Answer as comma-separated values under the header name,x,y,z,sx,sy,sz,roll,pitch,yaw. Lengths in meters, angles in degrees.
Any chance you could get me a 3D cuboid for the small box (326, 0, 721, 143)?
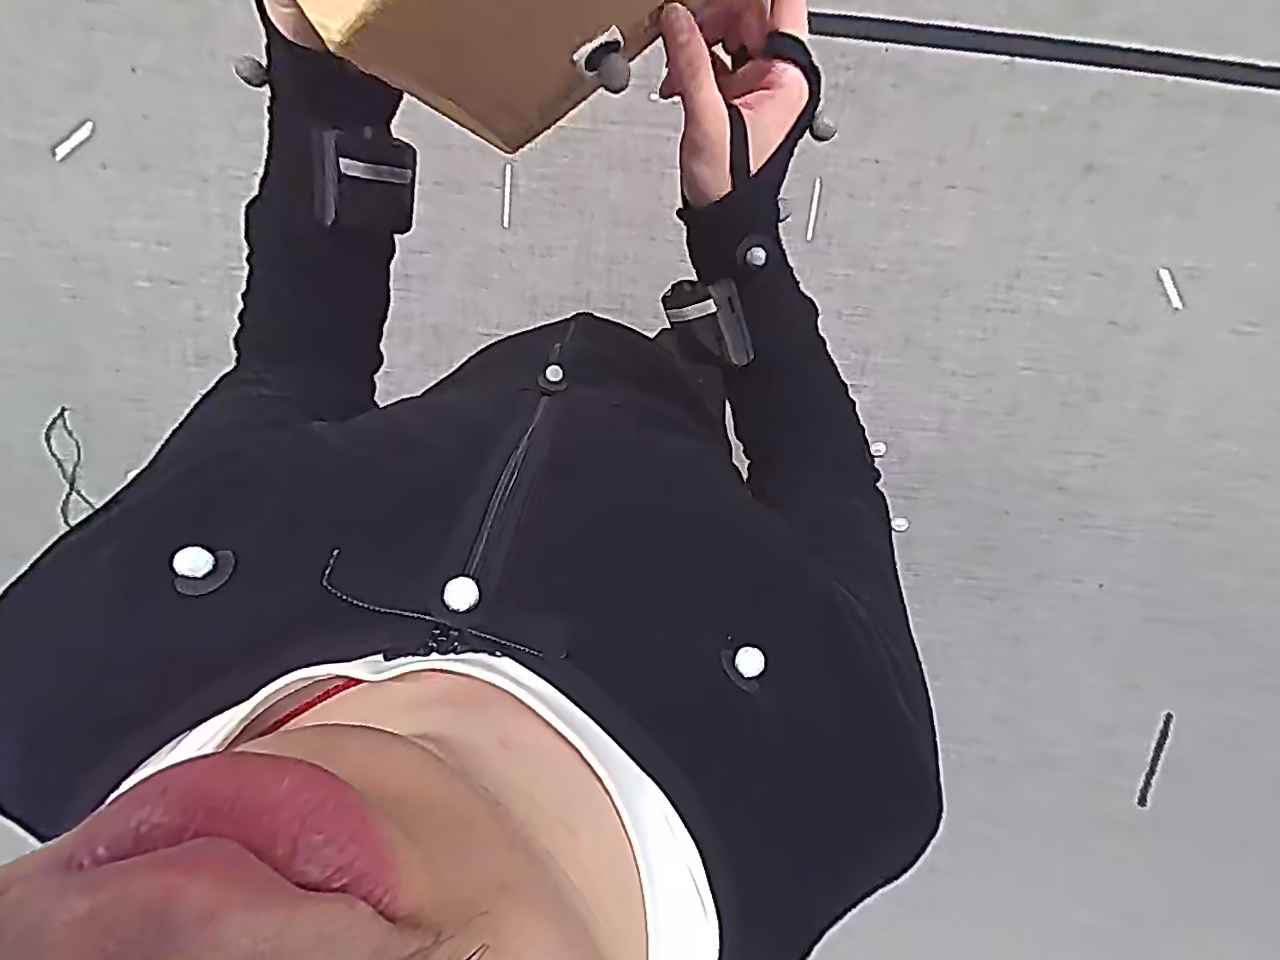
name,x,y,z,sx,sy,sz,roll,pitch,yaw
small box,-0.057,-0.270,0.204,0.168,0.176,0.179,-30,105,18
